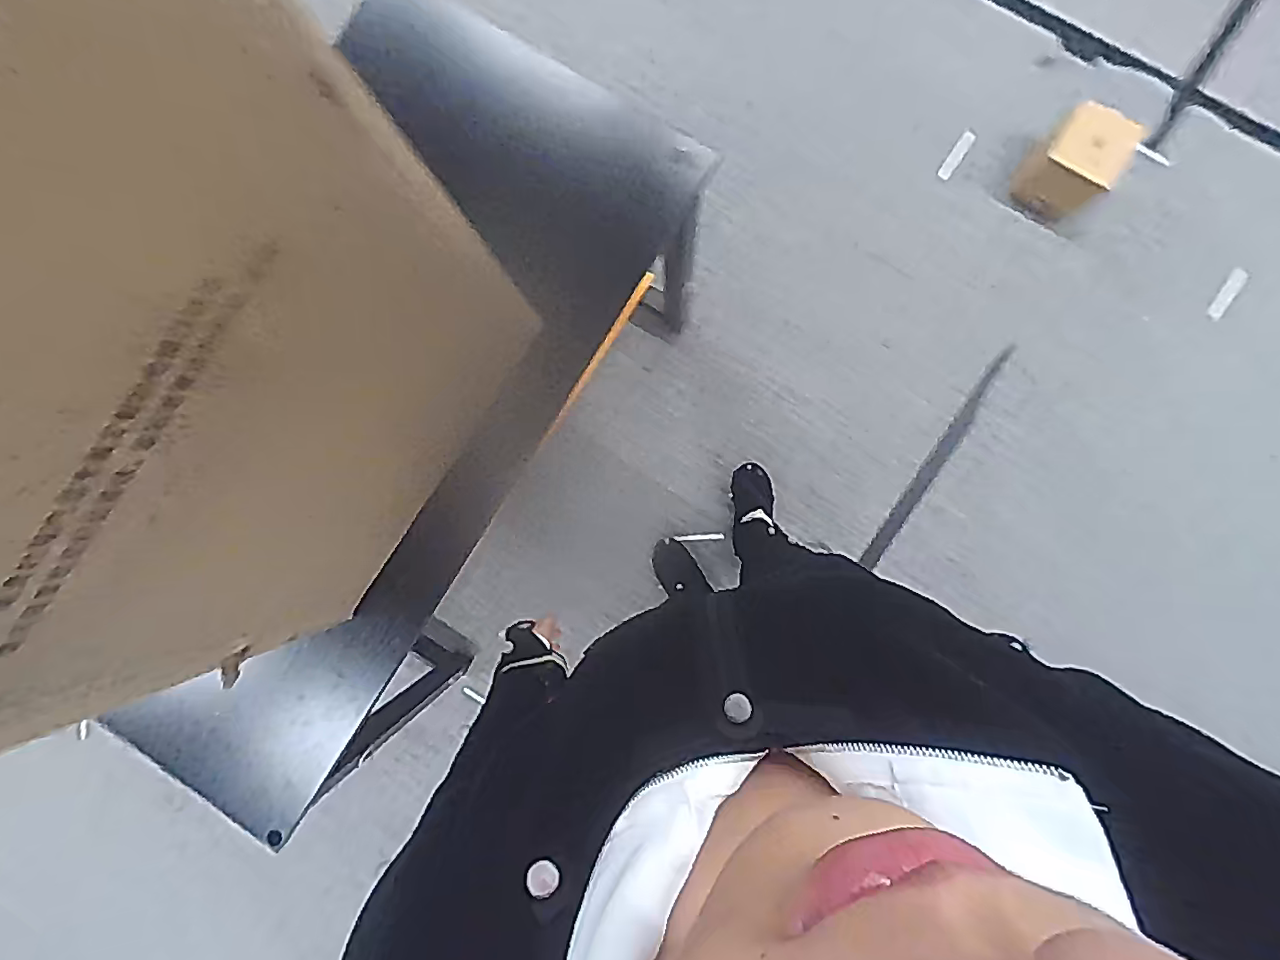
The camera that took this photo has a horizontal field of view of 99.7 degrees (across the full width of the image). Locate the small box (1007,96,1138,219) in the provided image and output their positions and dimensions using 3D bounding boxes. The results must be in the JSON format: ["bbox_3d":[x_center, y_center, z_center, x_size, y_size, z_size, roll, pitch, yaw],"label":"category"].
[{"bbox_3d":[1.100,-0.822,1.393,0.168,0.176,0.179,31,91,4],"label":"small box"}]
